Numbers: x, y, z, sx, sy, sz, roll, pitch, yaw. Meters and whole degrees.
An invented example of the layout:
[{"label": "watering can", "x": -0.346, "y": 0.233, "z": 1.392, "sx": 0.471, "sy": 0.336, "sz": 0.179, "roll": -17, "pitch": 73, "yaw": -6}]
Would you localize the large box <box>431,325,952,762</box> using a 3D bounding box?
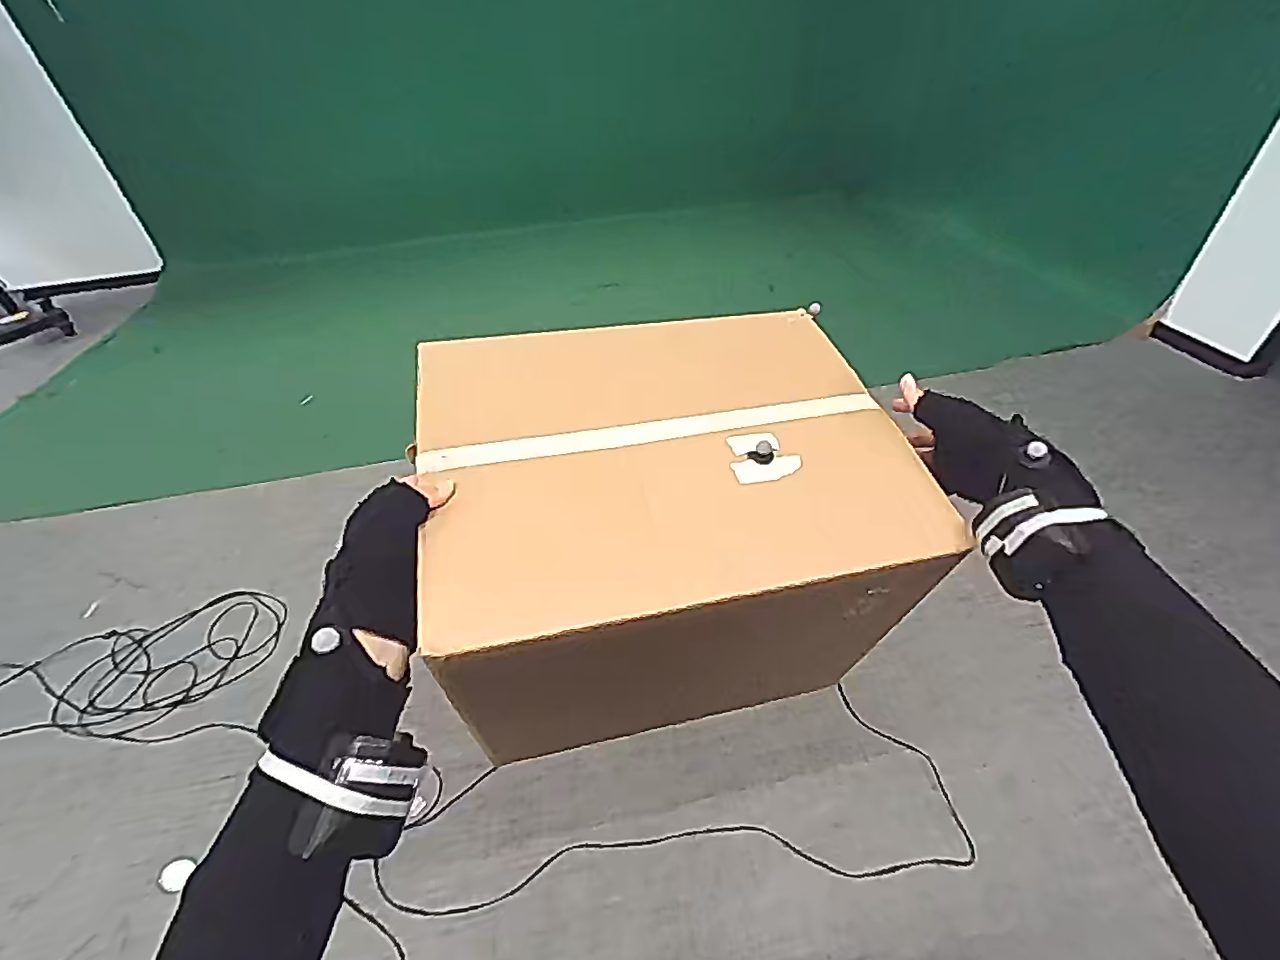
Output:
[{"label": "large box", "x": 0.012, "y": 0.063, "z": 0.591, "sx": 0.408, "sy": 0.320, "sz": 0.320, "roll": -8, "pitch": 52, "yaw": -12}]
